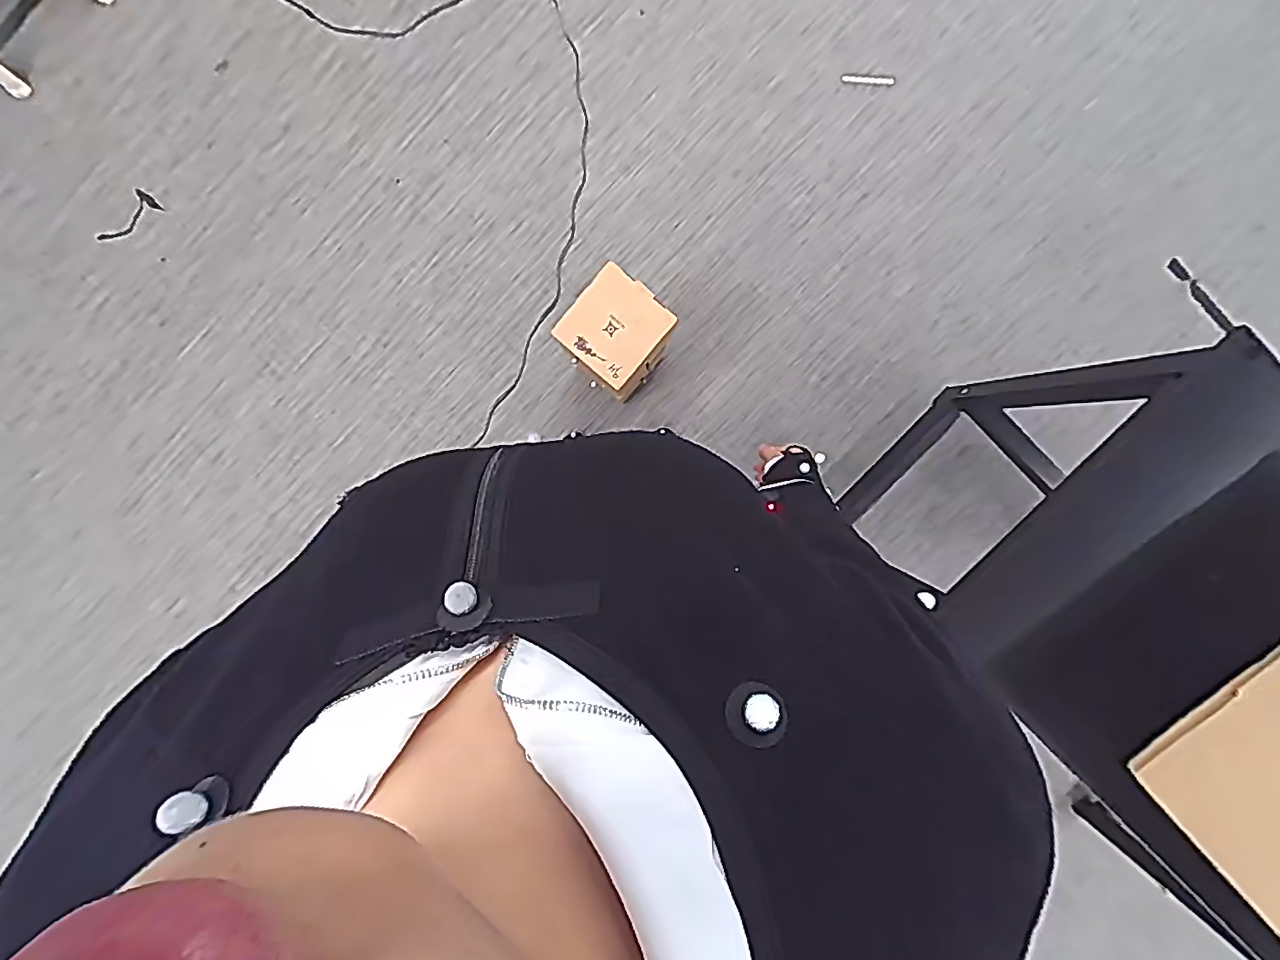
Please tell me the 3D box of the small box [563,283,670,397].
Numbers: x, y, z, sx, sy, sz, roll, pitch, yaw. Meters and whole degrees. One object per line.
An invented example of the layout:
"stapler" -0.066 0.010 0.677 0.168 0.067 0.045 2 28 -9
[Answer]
"small box" -0.051 -0.308 1.235 0.168 0.176 0.179 37 91 -4

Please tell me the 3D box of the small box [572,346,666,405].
"small box" -0.054 -0.313 1.397 0.168 0.176 0.179 41 94 -3
